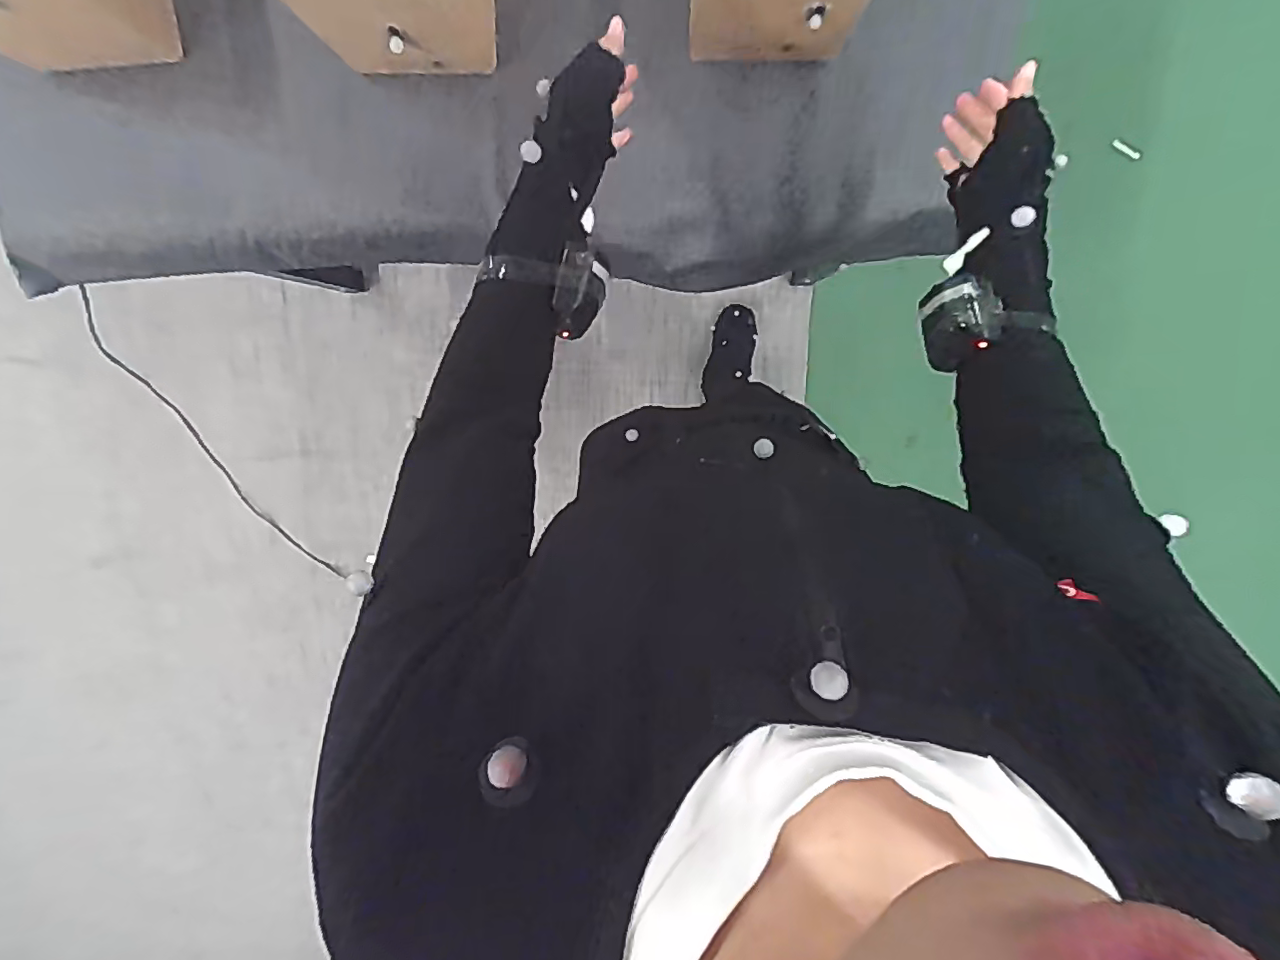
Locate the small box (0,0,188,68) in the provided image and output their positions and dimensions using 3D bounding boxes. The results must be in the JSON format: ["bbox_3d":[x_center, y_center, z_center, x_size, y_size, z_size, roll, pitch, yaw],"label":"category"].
[{"bbox_3d":[-0.613,-0.544,0.536,0.179,0.176,0.168,-3,102,1],"label":"small box"}]

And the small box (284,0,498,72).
[{"bbox_3d":[-0.243,-0.534,0.528,0.168,0.176,0.179,2,103,1],"label":"small box"}]

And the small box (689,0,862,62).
[{"bbox_3d":[0.136,-0.538,0.516,0.168,0.176,0.179,1,101,1],"label":"small box"}]
